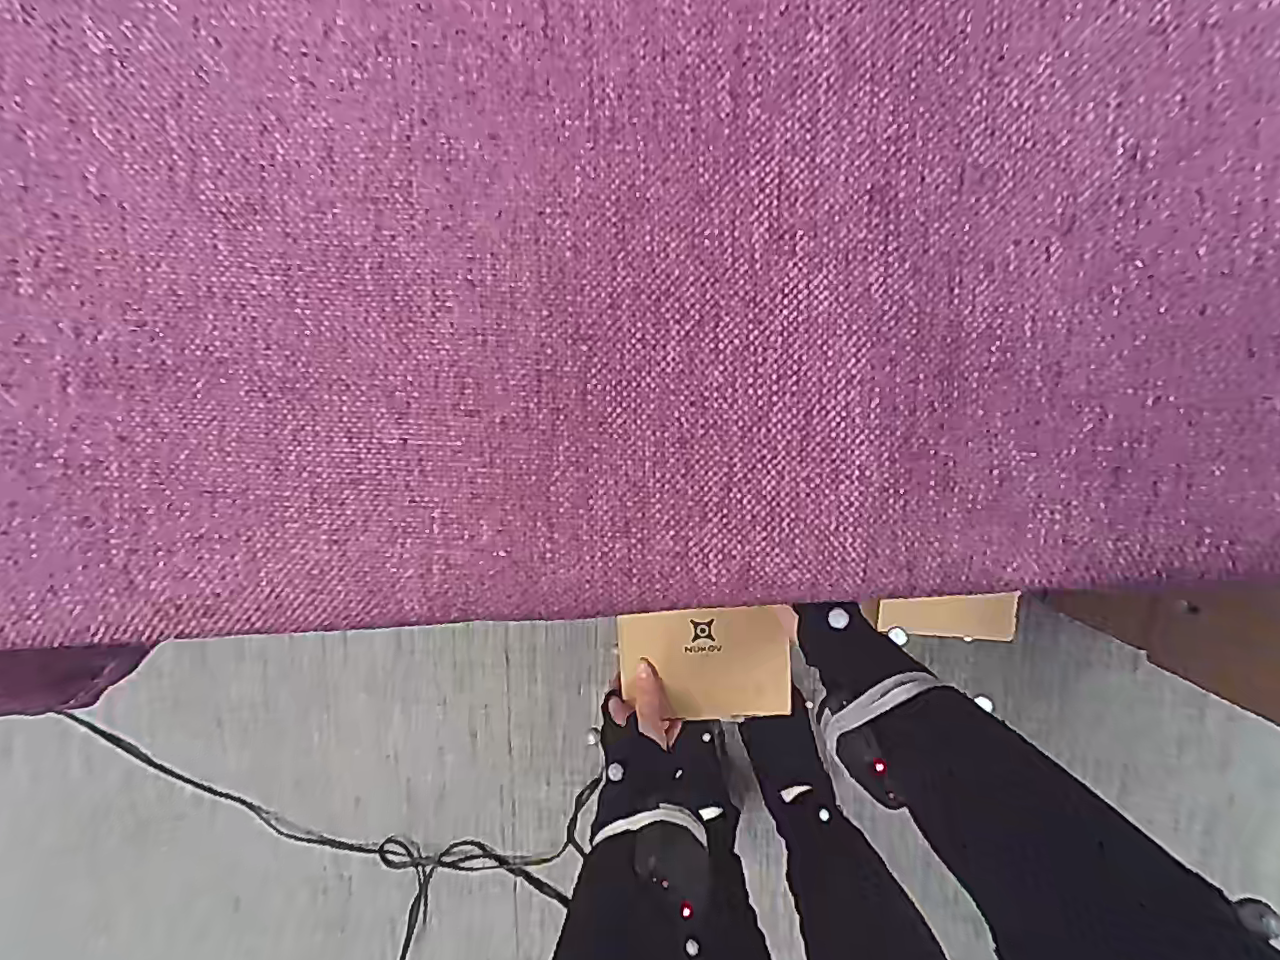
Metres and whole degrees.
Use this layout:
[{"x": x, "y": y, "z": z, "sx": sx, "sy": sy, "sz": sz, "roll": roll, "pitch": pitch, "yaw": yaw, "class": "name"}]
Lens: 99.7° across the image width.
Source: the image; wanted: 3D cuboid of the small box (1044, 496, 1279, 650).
[{"x": 0.708, "y": 0.128, "z": 0.749, "sx": 0.168, "sy": 0.176, "sz": 0.179, "roll": 8, "pitch": 96, "yaw": 0, "class": "small box"}]

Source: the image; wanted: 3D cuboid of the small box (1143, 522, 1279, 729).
[{"x": 0.709, "y": 0.153, "z": 0.587, "sx": 0.168, "sy": 0.176, "sz": 0.179, "roll": 4, "pitch": 97, "yaw": 0, "class": "small box"}]
